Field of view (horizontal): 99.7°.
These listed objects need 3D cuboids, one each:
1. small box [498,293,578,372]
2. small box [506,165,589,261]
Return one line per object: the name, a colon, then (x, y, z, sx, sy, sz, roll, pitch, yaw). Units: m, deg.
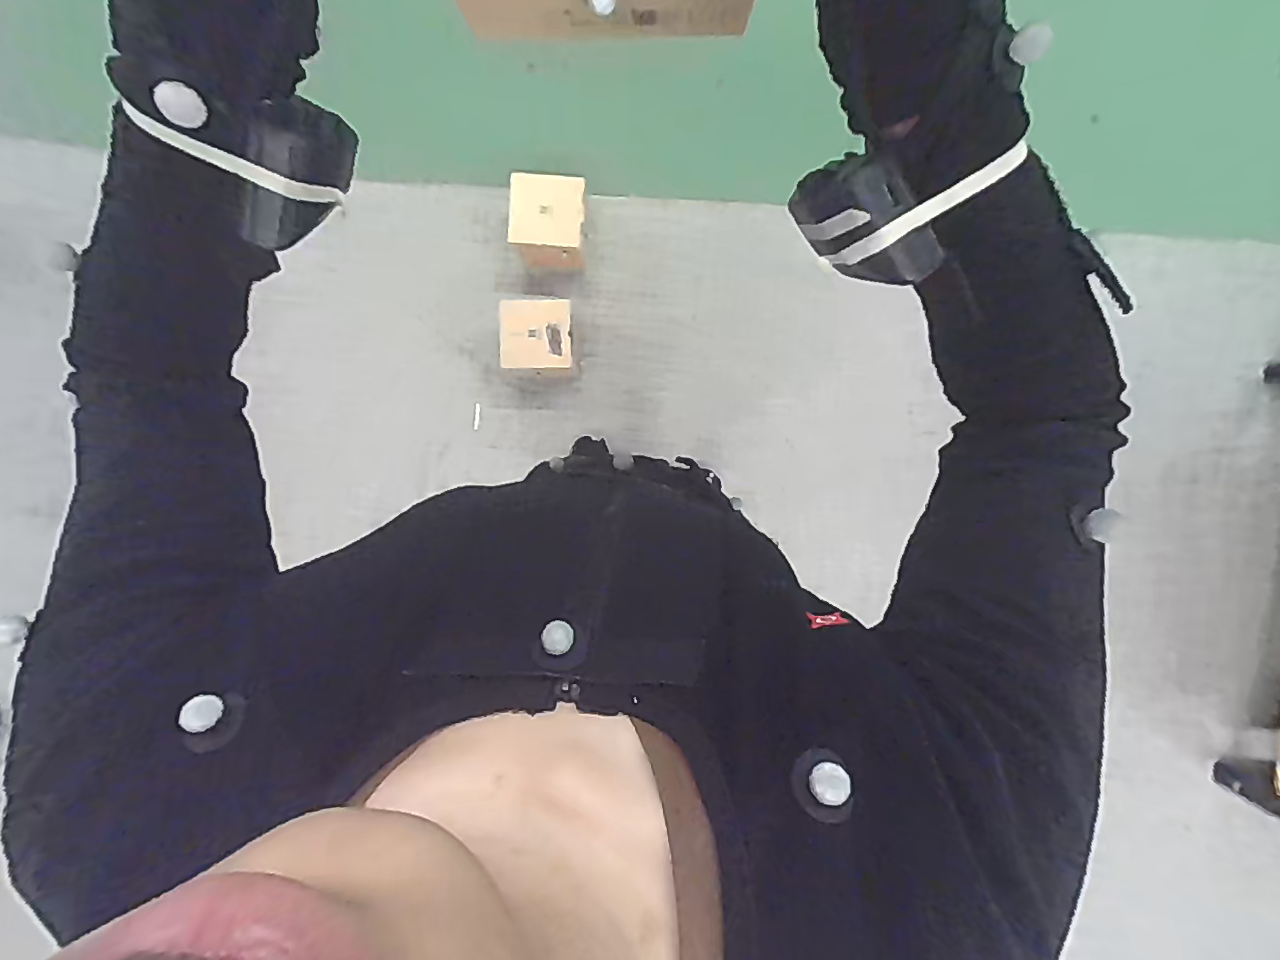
small box: (-0.252, -0.369, 1.371, 0.179, 0.176, 0.168, 0, 93, 1)
small box: (-0.227, -0.661, 1.355, 0.179, 0.176, 0.168, 3, 94, -1)
